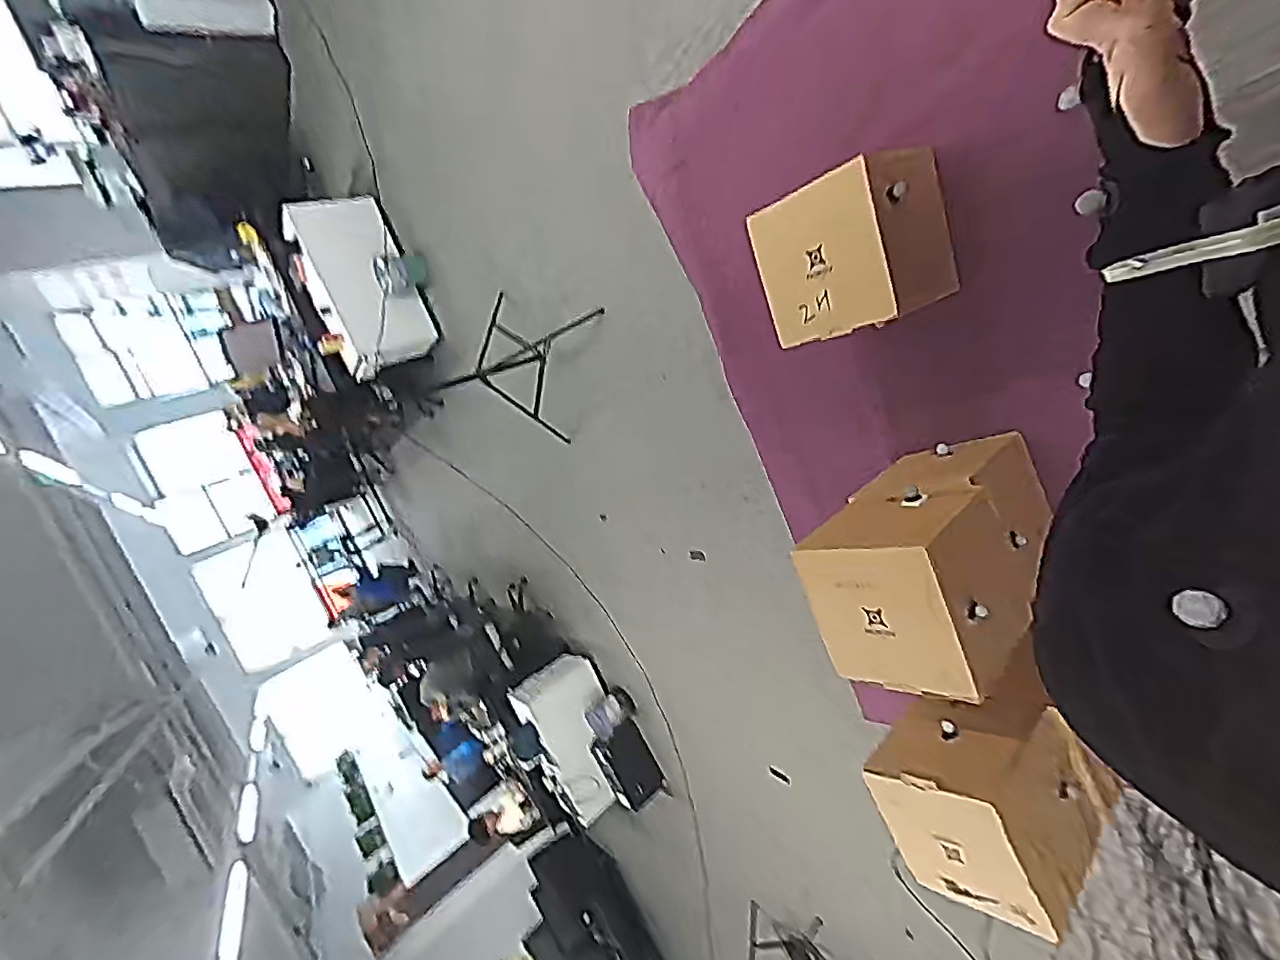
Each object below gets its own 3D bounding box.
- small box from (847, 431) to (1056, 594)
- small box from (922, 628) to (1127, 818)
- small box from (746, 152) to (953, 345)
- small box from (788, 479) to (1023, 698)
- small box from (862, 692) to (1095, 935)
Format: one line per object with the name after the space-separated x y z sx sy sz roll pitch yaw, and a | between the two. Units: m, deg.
0.424 0.055 0.734 0.168 0.176 0.179 -18 97 56 | small box
0.546 0.322 0.763 0.179 0.176 0.168 -20 97 57 | small box
0.270 -0.292 0.692 0.168 0.176 0.179 -2 112 54 | small box
0.313 0.117 0.634 0.168 0.176 0.179 -14 100 54 | small box
0.423 0.392 0.679 0.168 0.176 0.179 -24 93 57 | small box
